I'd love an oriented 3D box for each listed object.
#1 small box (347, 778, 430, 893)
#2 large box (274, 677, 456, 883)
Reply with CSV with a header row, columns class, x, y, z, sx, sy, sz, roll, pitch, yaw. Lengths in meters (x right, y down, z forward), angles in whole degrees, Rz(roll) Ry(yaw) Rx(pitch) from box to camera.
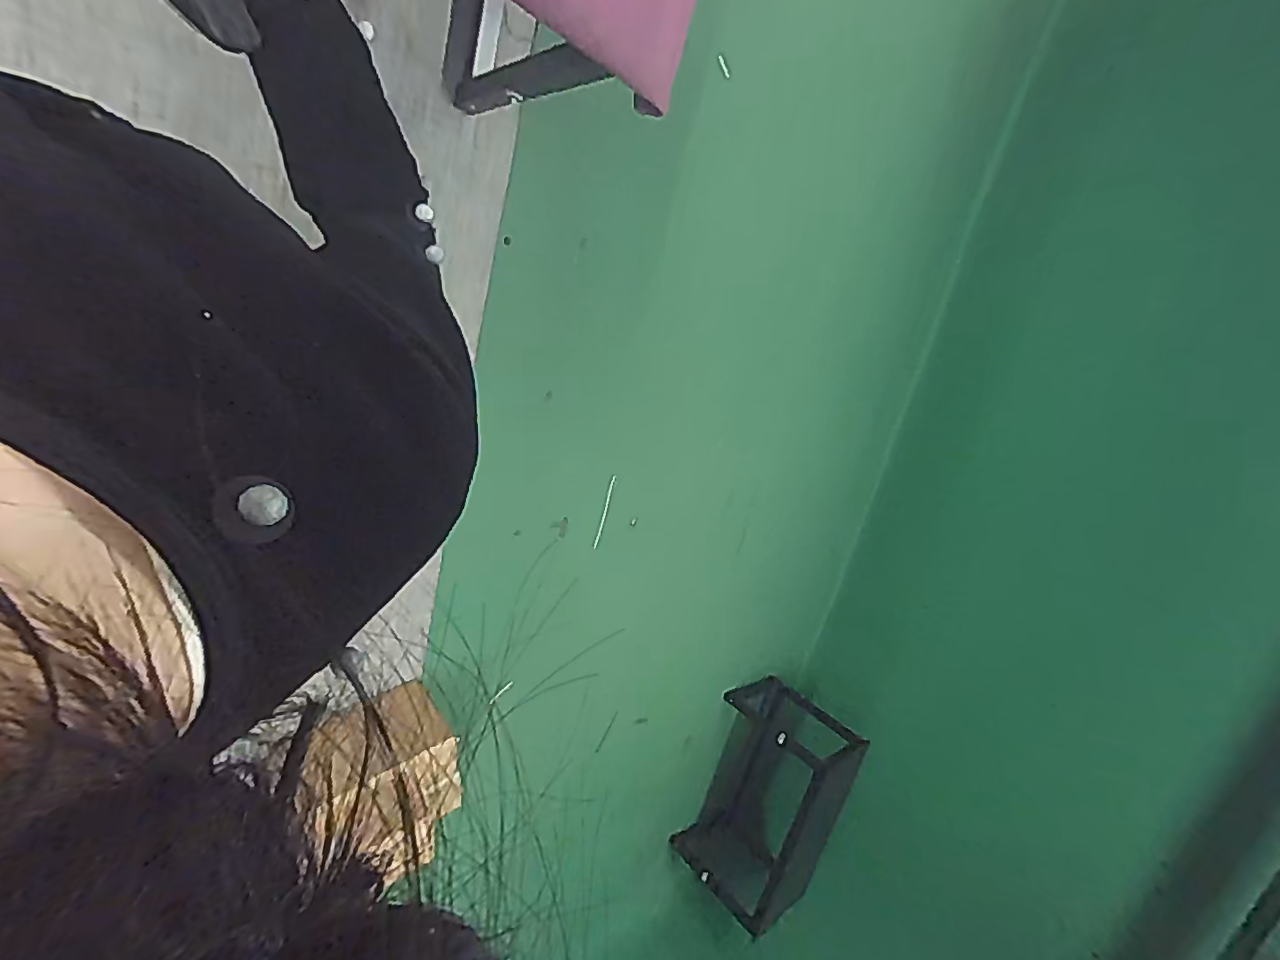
class,x,y,z,sx,sy,sz,roll,pitch,yaw
small box,-0.690,0.955,1.479,0.168,0.176,0.179,-9,116,-41
large box,-0.838,0.895,1.672,0.408,0.320,0.320,-17,122,-40
